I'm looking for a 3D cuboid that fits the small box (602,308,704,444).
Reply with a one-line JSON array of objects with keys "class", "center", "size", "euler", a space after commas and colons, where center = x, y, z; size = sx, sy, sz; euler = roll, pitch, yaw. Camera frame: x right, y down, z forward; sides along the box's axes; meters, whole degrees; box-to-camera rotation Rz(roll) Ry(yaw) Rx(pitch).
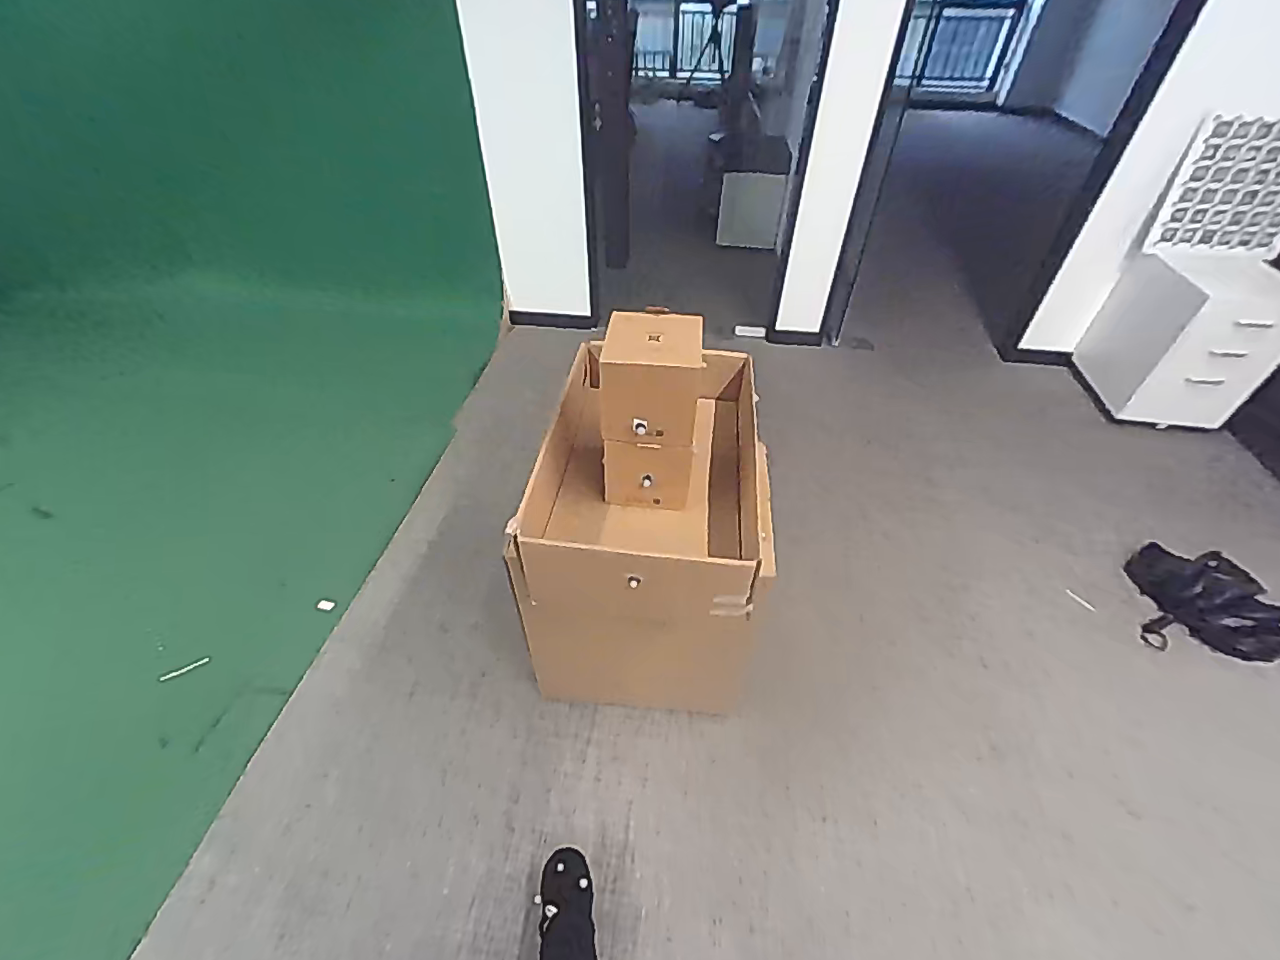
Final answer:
[{"class": "small box", "center": [0.025, -0.188, 0.974], "size": [0.168, 0.176, 0.179], "euler": [3, 45, 3]}]
